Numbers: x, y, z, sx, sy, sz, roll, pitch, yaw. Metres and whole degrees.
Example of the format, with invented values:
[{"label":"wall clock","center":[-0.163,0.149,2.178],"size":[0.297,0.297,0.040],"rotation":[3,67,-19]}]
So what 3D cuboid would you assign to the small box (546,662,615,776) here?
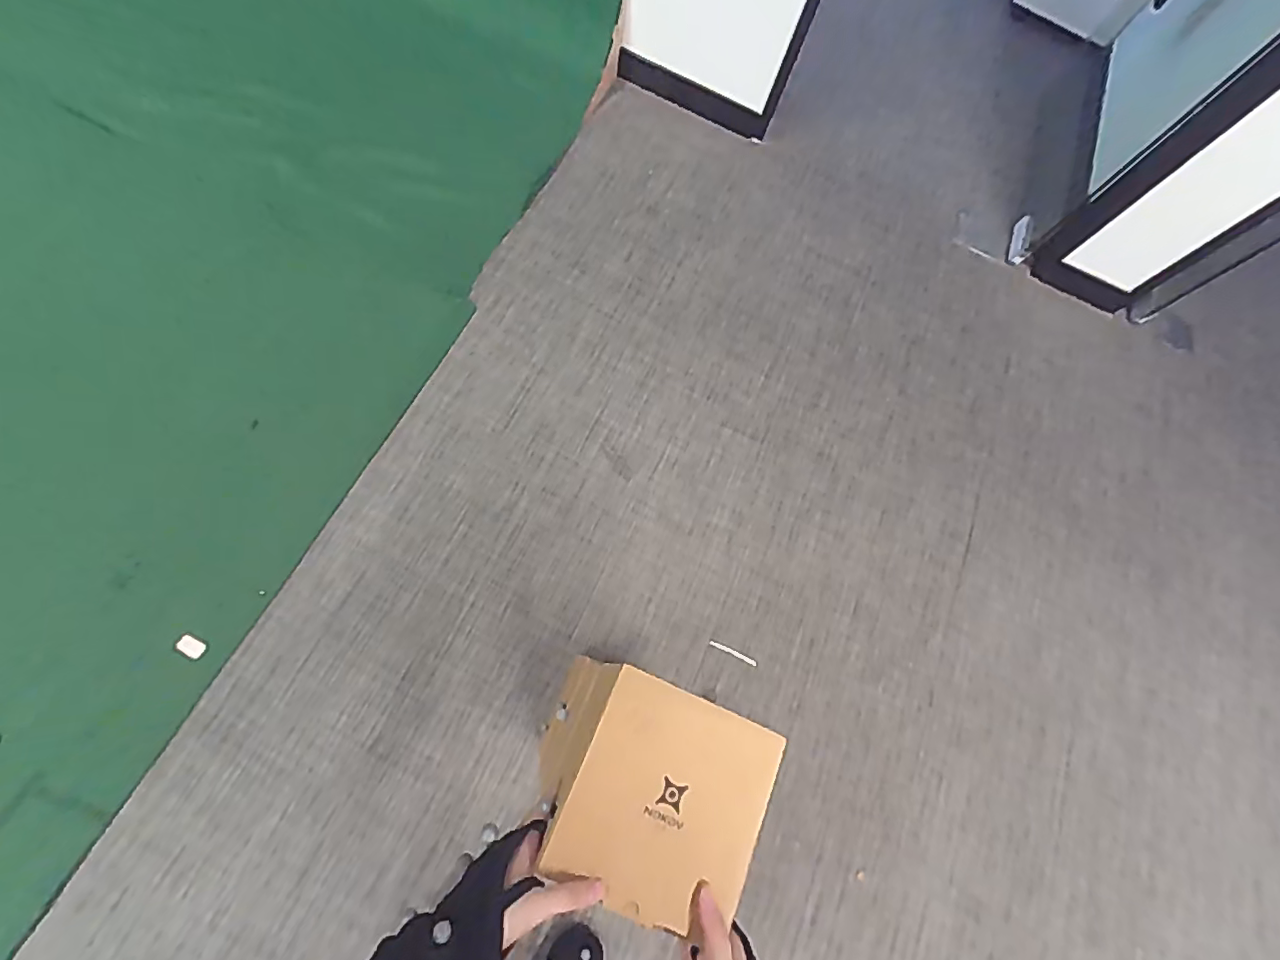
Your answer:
[{"label":"small box","center":[-0.040,0.399,0.846],"size":[0.168,0.176,0.179],"rotation":[22,70,-1]}]

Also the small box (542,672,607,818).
[{"label":"small box","center":[-0.010,0.354,0.691],"size":[0.179,0.176,0.168],"rotation":[23,70,0]}]

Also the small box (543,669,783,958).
[{"label":"small box","center":[0.013,0.302,0.538],"size":[0.168,0.176,0.179],"rotation":[25,71,-1]}]
